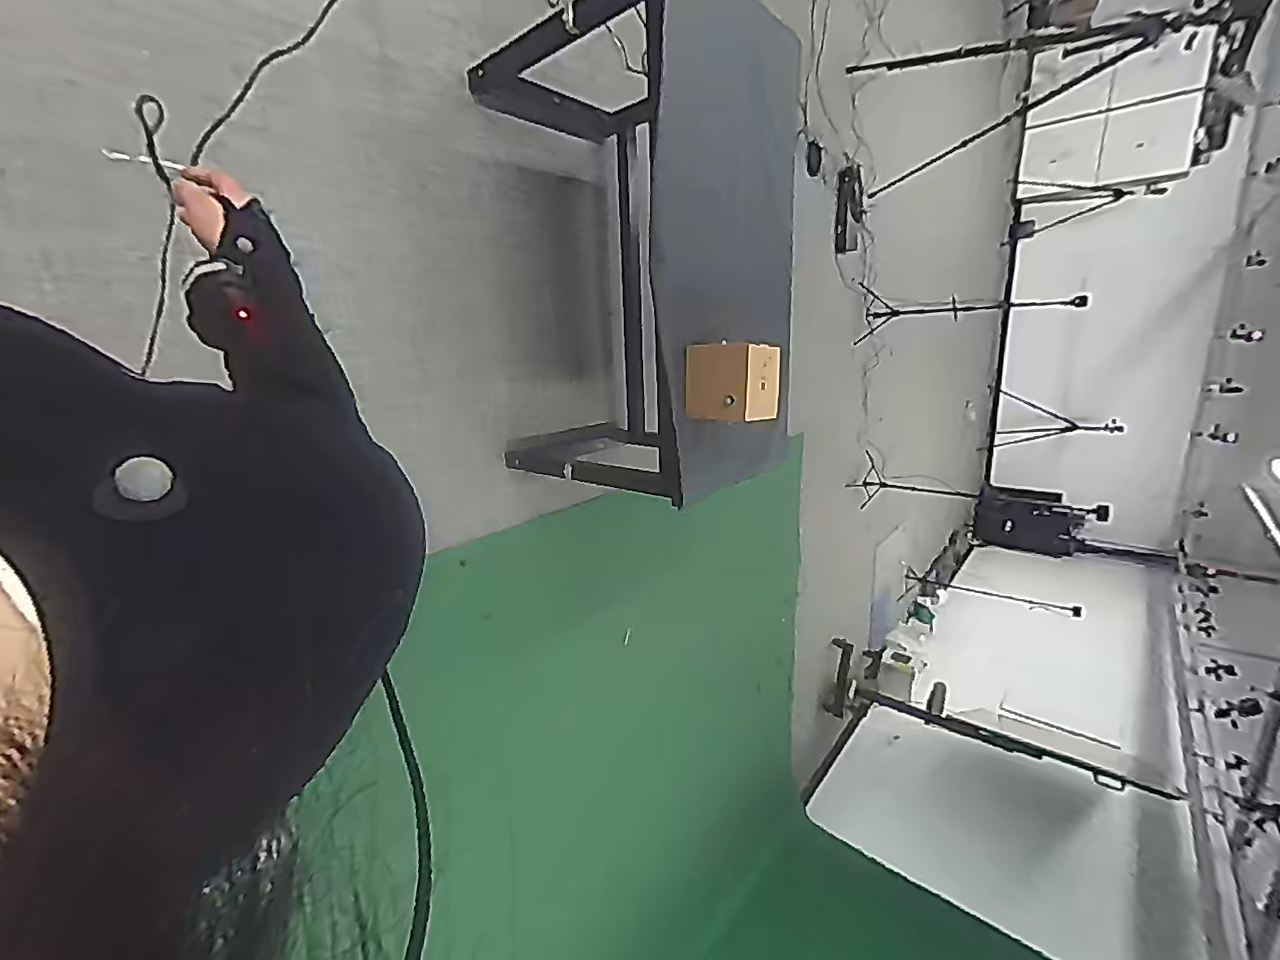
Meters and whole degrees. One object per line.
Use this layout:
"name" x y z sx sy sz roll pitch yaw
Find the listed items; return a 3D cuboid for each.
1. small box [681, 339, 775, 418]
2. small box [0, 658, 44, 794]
"small box" 0.212 -0.246 1.317 0.168 0.176 0.179 -12 105 -51
"small box" -1.134 0.428 0.910 0.168 0.176 0.179 -6 100 -50
